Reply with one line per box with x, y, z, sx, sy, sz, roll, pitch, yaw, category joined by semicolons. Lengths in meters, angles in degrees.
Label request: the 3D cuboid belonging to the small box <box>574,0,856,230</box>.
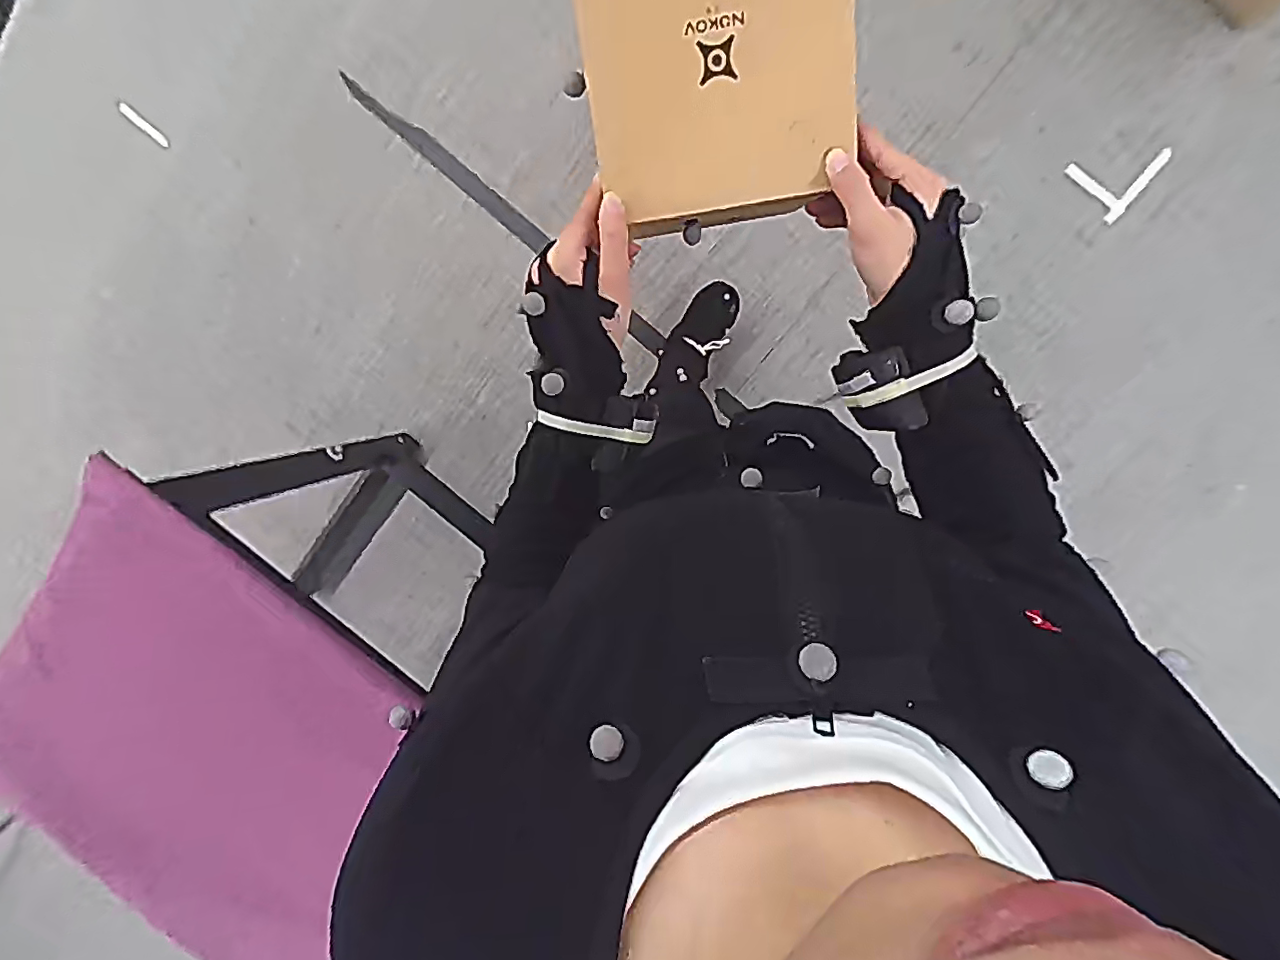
0.050;-0.291;0.399;0.168;0.176;0.179;-7;109;5;small box
